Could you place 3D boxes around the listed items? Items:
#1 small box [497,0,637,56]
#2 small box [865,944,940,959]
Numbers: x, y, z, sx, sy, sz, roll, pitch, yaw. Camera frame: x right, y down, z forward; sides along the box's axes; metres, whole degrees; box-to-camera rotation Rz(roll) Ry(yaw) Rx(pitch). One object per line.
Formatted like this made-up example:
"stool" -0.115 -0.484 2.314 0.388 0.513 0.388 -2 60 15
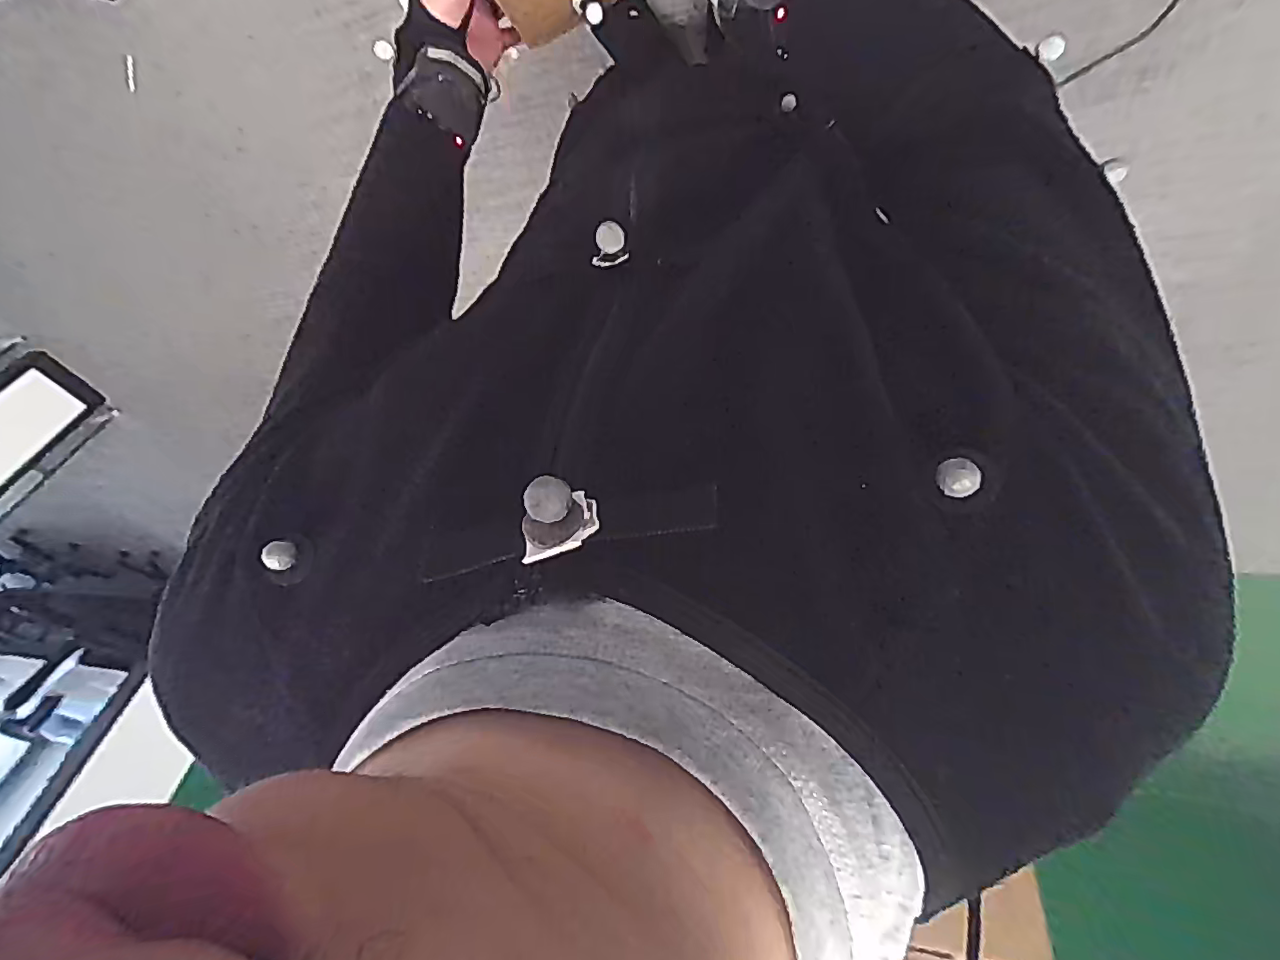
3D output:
"small box" -0.079 -0.505 0.441 0.168 0.176 0.179 -24 108 13
"small box" 0.622 1.204 1.257 0.168 0.176 0.179 -1 141 17
